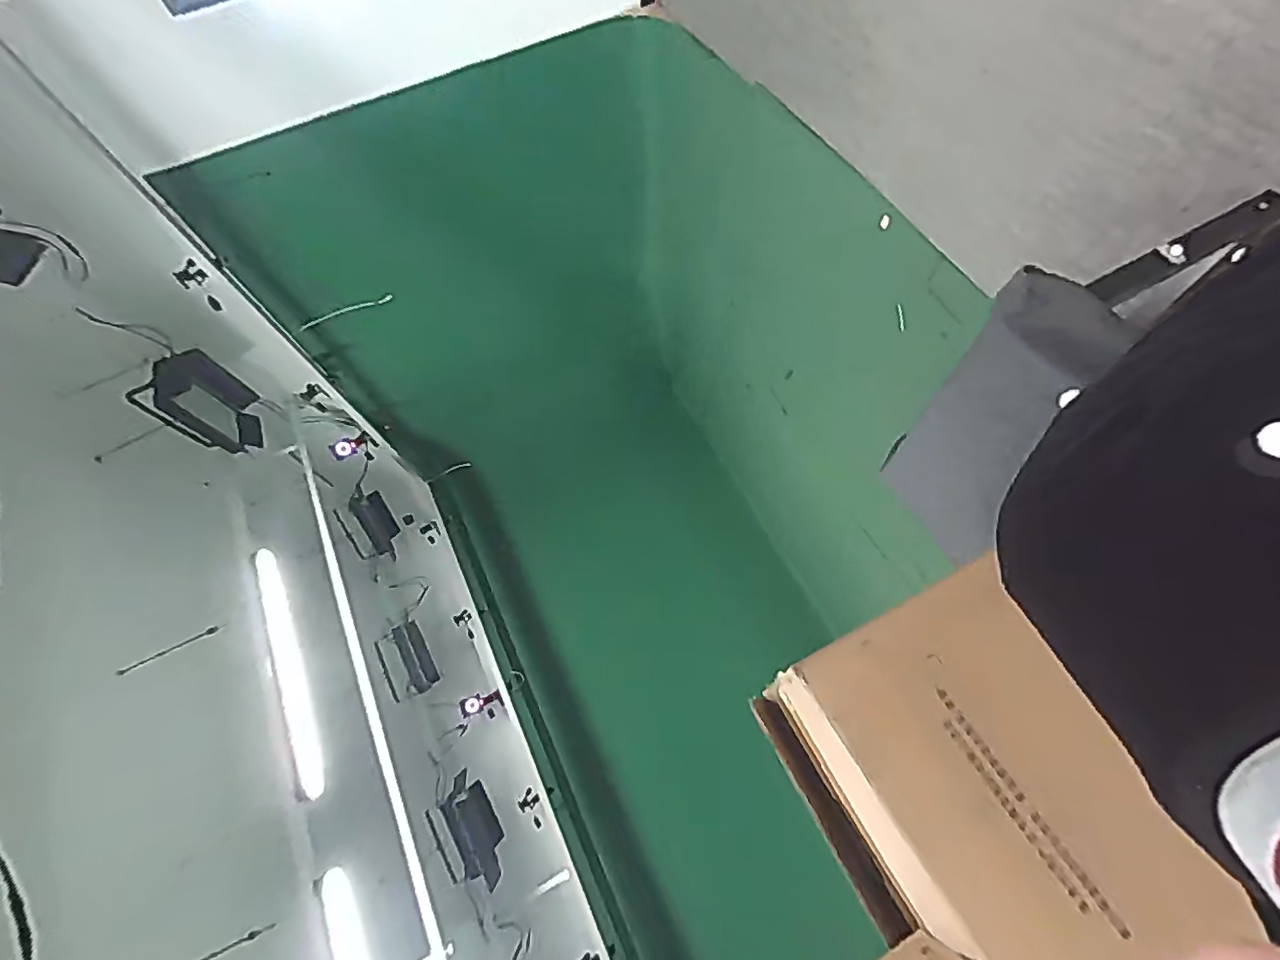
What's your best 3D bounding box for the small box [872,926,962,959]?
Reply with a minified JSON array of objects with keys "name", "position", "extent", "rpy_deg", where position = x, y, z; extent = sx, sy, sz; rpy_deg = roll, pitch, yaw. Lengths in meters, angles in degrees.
[{"name":"small box","position":[0.360,0.695,0.644],"extent":[0.179,0.176,0.168],"rpy_deg":[57,167,25]}]
